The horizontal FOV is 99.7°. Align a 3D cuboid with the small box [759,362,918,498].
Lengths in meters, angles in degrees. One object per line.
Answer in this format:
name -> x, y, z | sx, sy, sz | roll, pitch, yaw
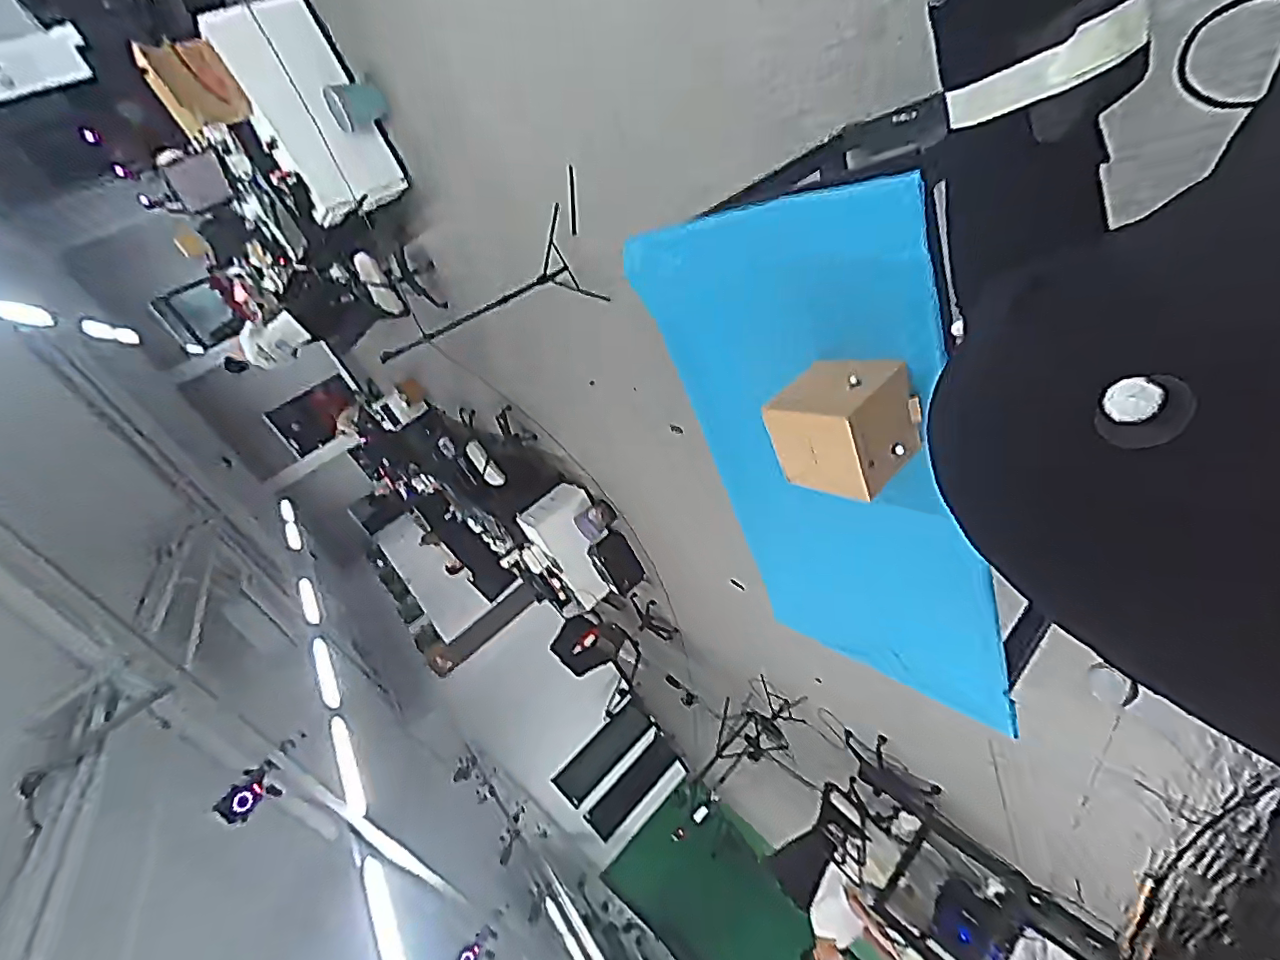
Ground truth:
small box -> 0.341, -0.089, 0.936 | 0.179, 0.176, 0.168 | 17, 140, 54
